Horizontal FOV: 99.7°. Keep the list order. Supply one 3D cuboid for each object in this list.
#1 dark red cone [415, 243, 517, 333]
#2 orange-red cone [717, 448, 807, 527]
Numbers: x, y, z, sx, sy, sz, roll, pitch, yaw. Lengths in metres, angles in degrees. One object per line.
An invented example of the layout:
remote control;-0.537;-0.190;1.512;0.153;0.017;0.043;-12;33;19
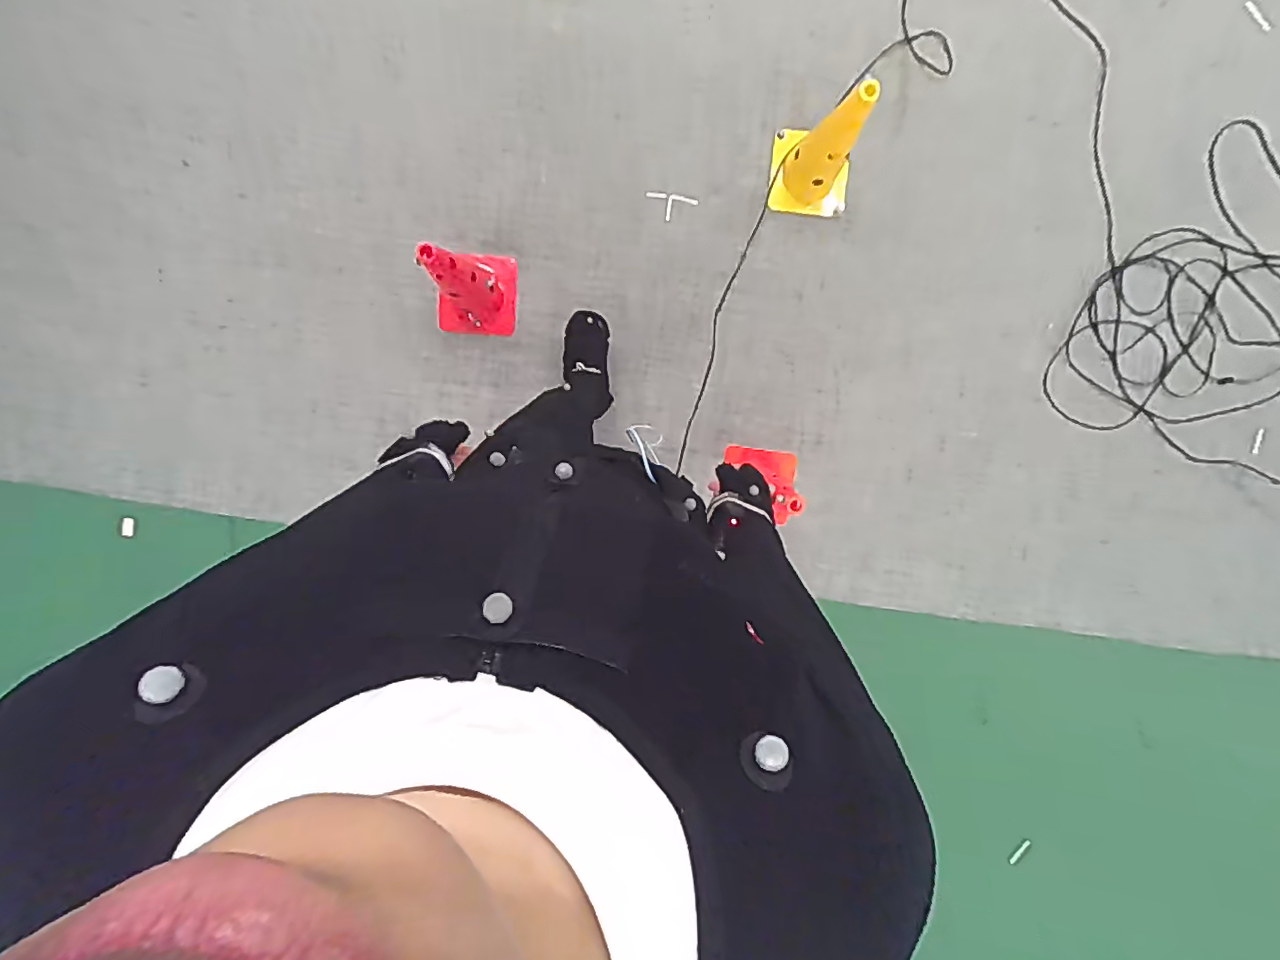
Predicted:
dark red cone;-0.414;-0.458;1.216;0.202;0.394;0.201;3;97;-1
orange-red cone;0.324;0.038;1.303;0.198;0.360;0.199;9;95;-3
